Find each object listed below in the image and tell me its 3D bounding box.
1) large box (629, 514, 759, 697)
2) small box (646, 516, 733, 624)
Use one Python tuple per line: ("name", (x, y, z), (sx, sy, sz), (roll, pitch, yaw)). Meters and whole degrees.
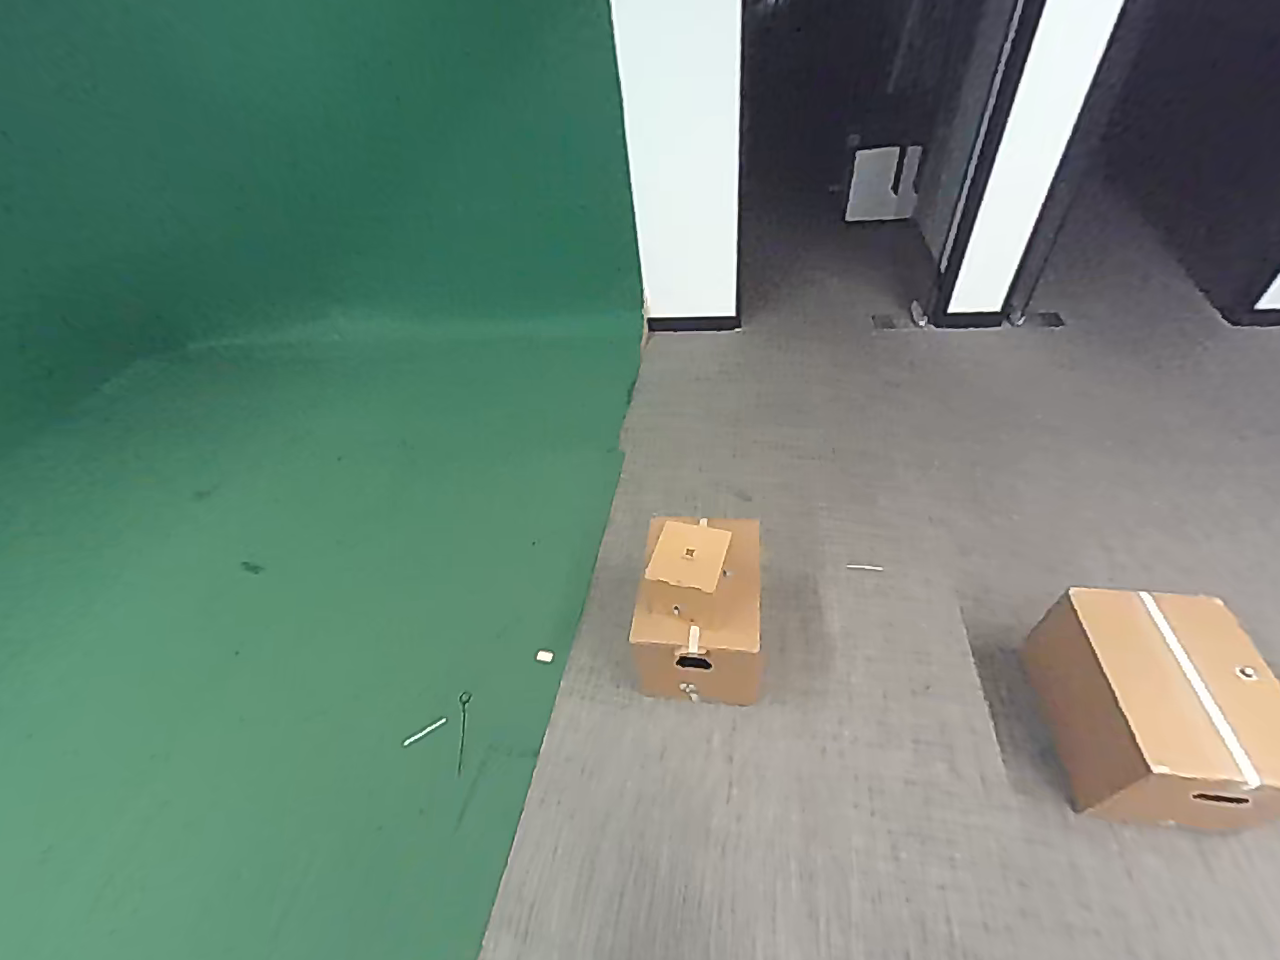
("large box", (0.168, 0.348, 1.518), (0.320, 0.320, 0.408), (1, 46, 10))
("small box", (0.125, 0.217, 1.309), (0.168, 0.176, 0.179), (9, 49, 19))
